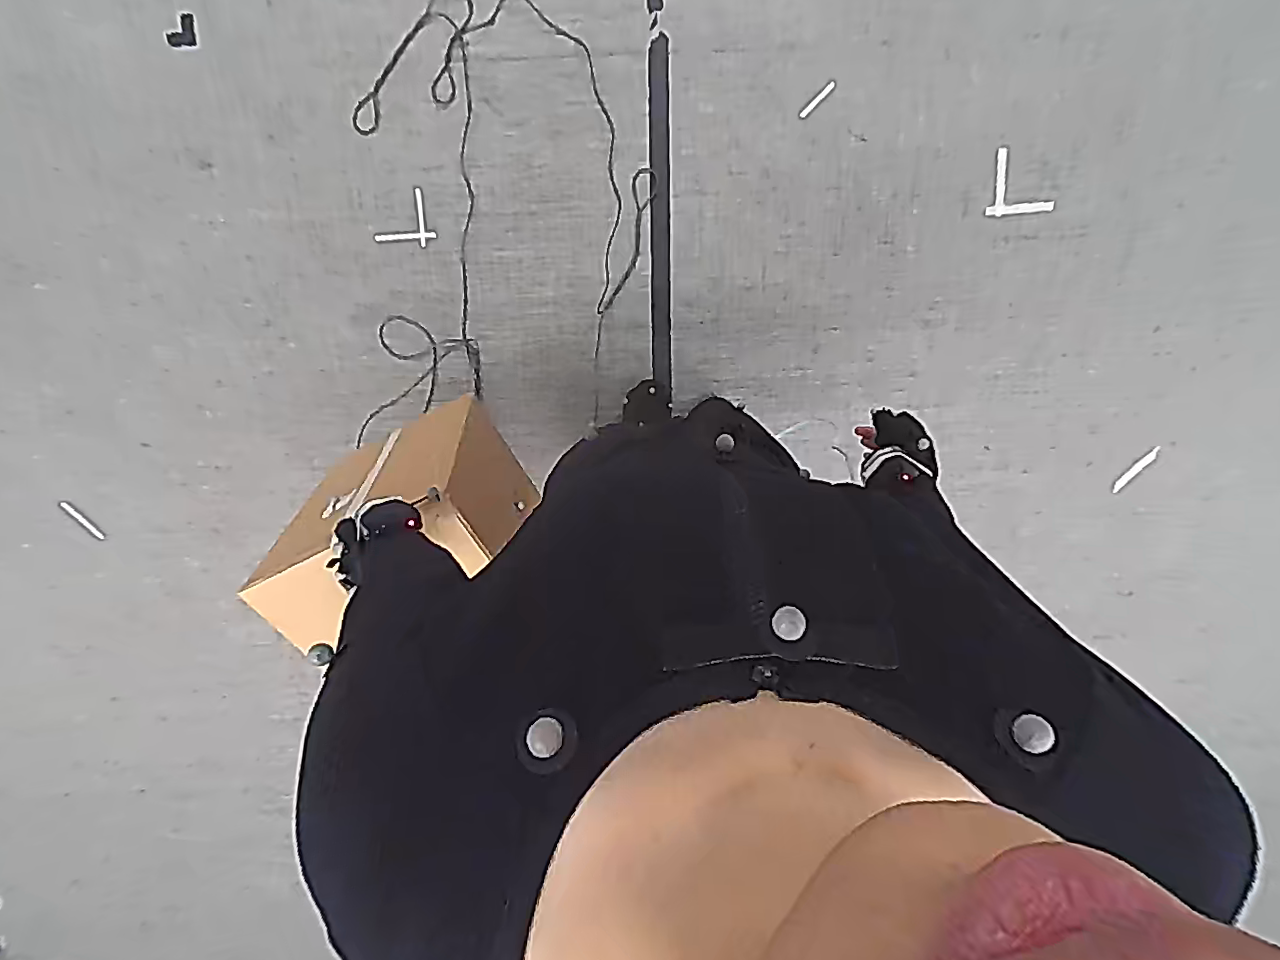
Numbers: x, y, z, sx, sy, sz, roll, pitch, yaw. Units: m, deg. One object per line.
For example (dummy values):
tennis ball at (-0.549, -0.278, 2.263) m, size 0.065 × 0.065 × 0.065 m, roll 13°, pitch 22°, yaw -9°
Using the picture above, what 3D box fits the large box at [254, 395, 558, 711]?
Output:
large box at (-0.361, 0.106, 0.958) m, size 0.320 × 0.408 × 0.320 m, roll -28°, pitch 120°, yaw 3°
